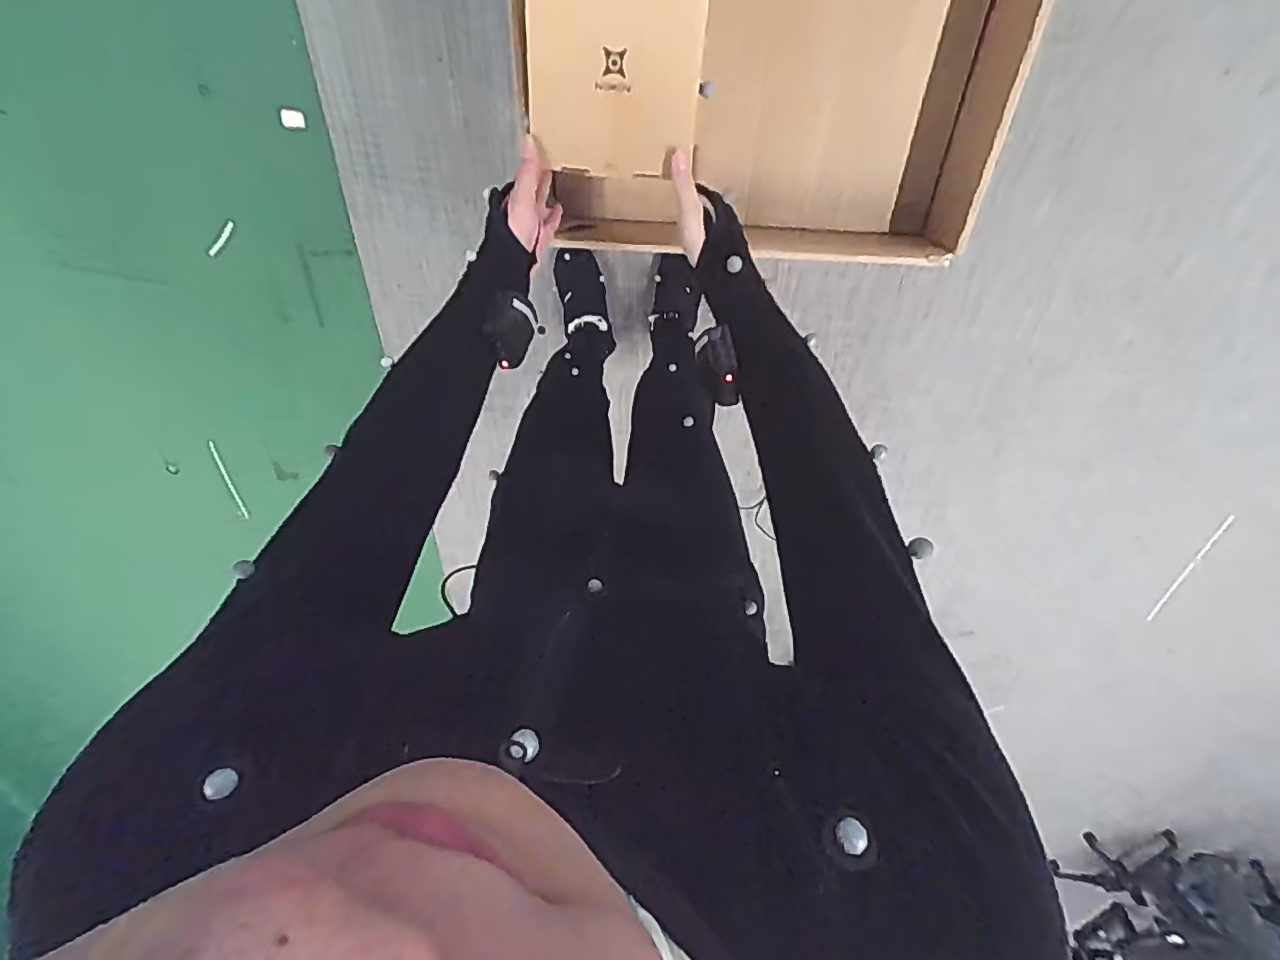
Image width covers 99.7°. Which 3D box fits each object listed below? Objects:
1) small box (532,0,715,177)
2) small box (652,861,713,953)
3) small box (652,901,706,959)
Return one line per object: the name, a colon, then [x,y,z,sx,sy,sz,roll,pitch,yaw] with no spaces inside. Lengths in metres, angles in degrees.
small box: [-0.017,-0.434,0.571,0.168,0.176,0.179,5,125,0]
small box: [0.123,1.249,1.583,0.168,0.176,0.179,1,127,3]
small box: [0.122,1.479,1.750,0.168,0.176,0.179,1,126,3]
